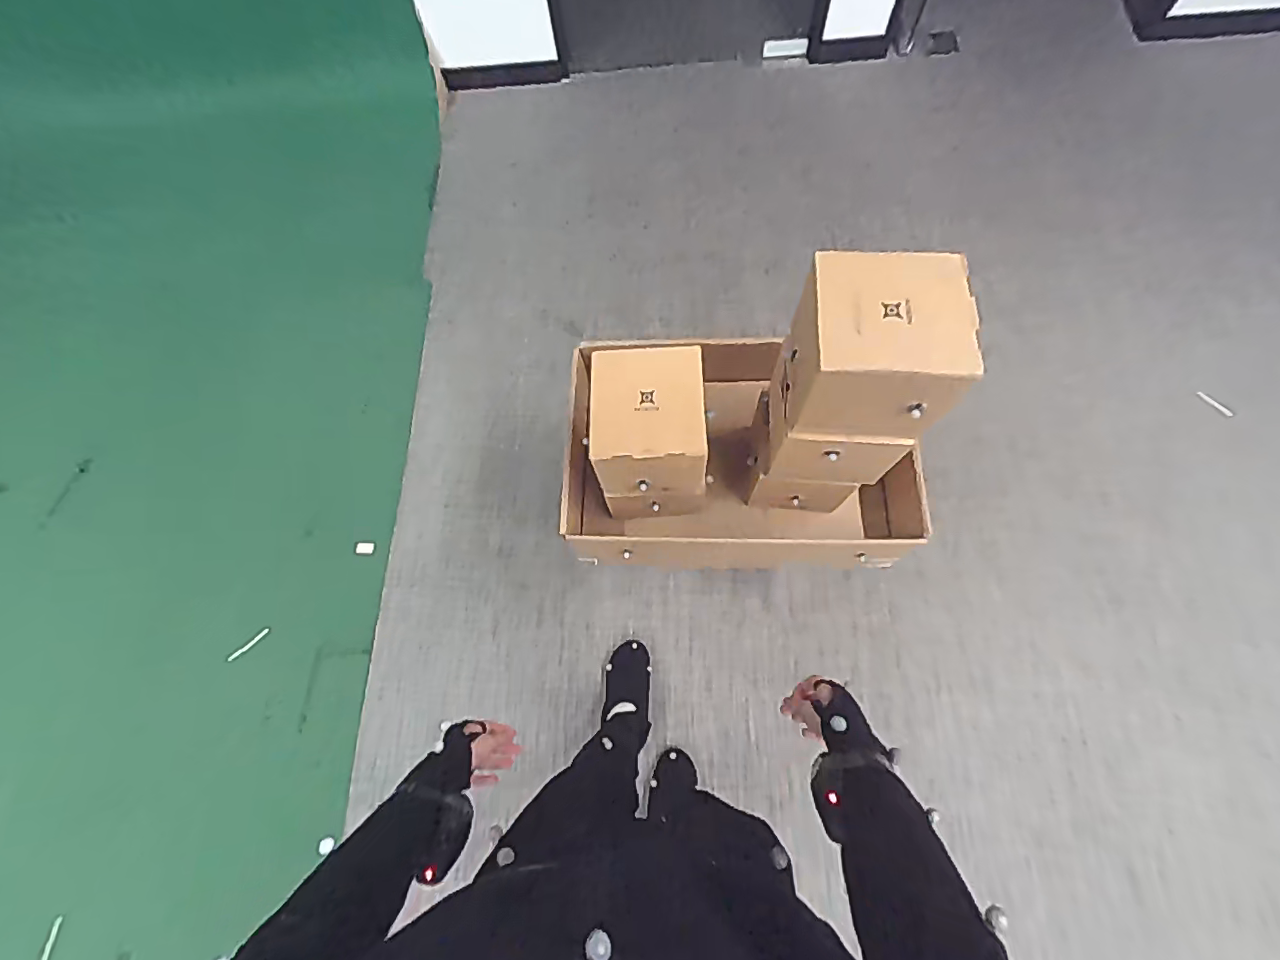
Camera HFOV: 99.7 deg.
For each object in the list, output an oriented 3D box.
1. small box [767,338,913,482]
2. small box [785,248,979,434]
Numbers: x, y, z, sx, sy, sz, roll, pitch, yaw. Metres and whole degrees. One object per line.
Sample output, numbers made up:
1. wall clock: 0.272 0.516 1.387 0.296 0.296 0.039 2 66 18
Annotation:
1. small box: 0.295 -0.102 0.836 0.179 0.176 0.168 3 70 5
2. small box: 0.289 -0.167 0.686 0.179 0.176 0.168 3 70 6
